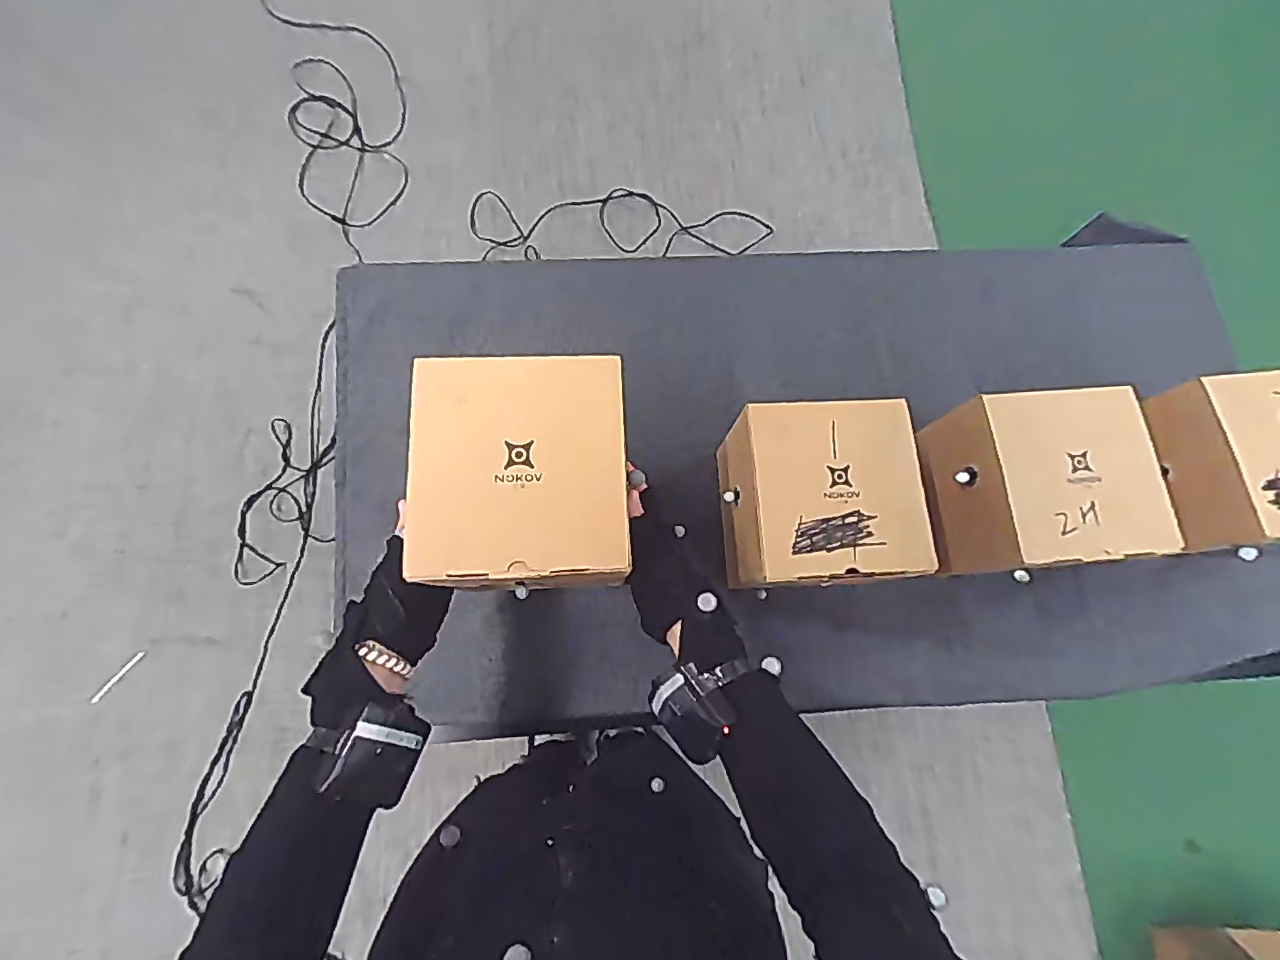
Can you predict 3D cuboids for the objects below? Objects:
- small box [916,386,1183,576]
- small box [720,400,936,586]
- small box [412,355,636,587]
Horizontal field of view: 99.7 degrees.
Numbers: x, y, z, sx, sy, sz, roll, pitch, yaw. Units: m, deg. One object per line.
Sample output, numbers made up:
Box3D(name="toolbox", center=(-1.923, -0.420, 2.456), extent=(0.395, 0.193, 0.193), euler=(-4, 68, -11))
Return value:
Box3D(name="small box", center=(0.431, 0.010, 0.612), extent=(0.168, 0.176, 0.179), euler=(-4, 76, -3))
Box3D(name="small box", center=(0.189, 0.025, 0.597), extent=(0.168, 0.176, 0.179), euler=(-2, 75, -4))
Box3D(name="small box", center=(-0.094, 0.002, 0.493), extent=(0.168, 0.176, 0.179), euler=(-2, 77, -5))
